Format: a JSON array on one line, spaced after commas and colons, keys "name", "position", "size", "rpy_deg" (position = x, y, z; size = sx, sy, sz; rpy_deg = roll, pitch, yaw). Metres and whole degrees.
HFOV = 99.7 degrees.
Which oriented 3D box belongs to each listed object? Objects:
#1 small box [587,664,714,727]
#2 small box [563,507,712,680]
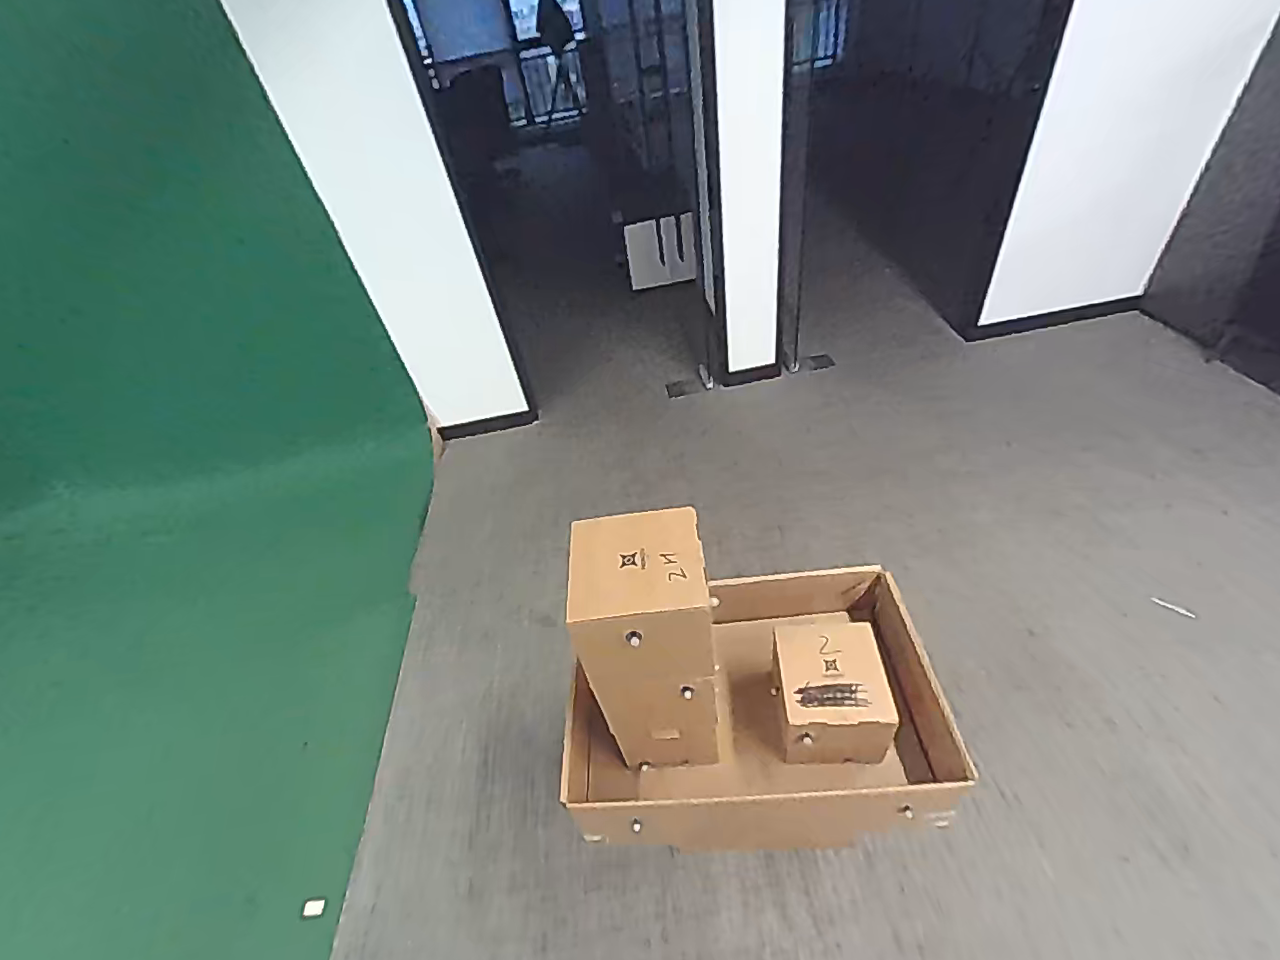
[{"name": "small box", "position": [0.020, 0.278, 0.861], "size": [0.179, 0.176, 0.168], "rpy_deg": [-6, 43, 3]}, {"name": "small box", "position": [0.002, 0.160, 0.747], "size": [0.179, 0.176, 0.168], "rpy_deg": [-6, 44, 3]}]
